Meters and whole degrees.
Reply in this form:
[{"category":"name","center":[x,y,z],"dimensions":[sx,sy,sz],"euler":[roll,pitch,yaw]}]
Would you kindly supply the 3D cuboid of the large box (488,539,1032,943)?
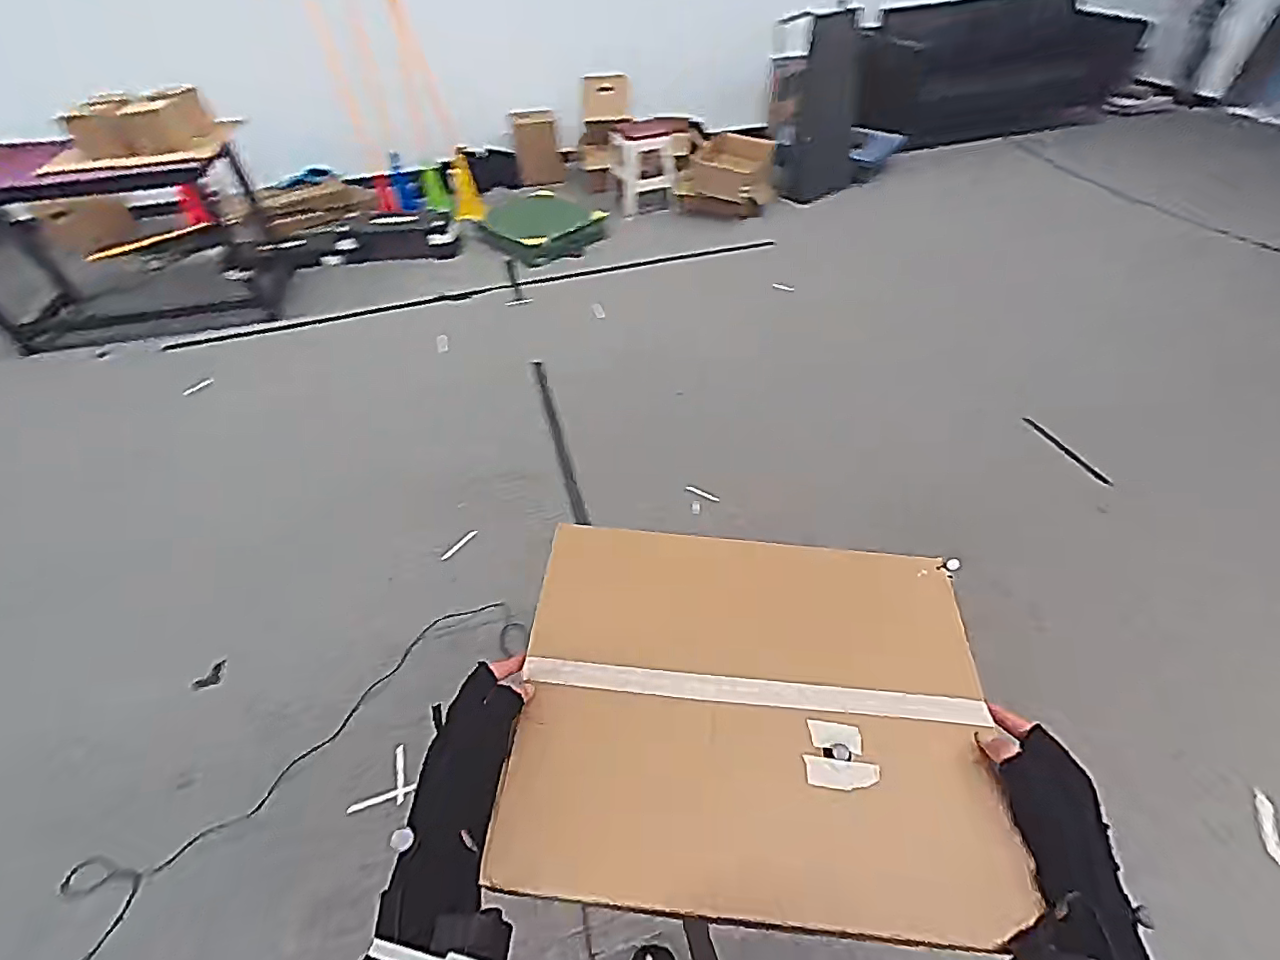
[{"category":"large box","center":[0.088,0.287,0.596],"dimensions":[0.408,0.320,0.320],"euler":[5,52,1]}]
